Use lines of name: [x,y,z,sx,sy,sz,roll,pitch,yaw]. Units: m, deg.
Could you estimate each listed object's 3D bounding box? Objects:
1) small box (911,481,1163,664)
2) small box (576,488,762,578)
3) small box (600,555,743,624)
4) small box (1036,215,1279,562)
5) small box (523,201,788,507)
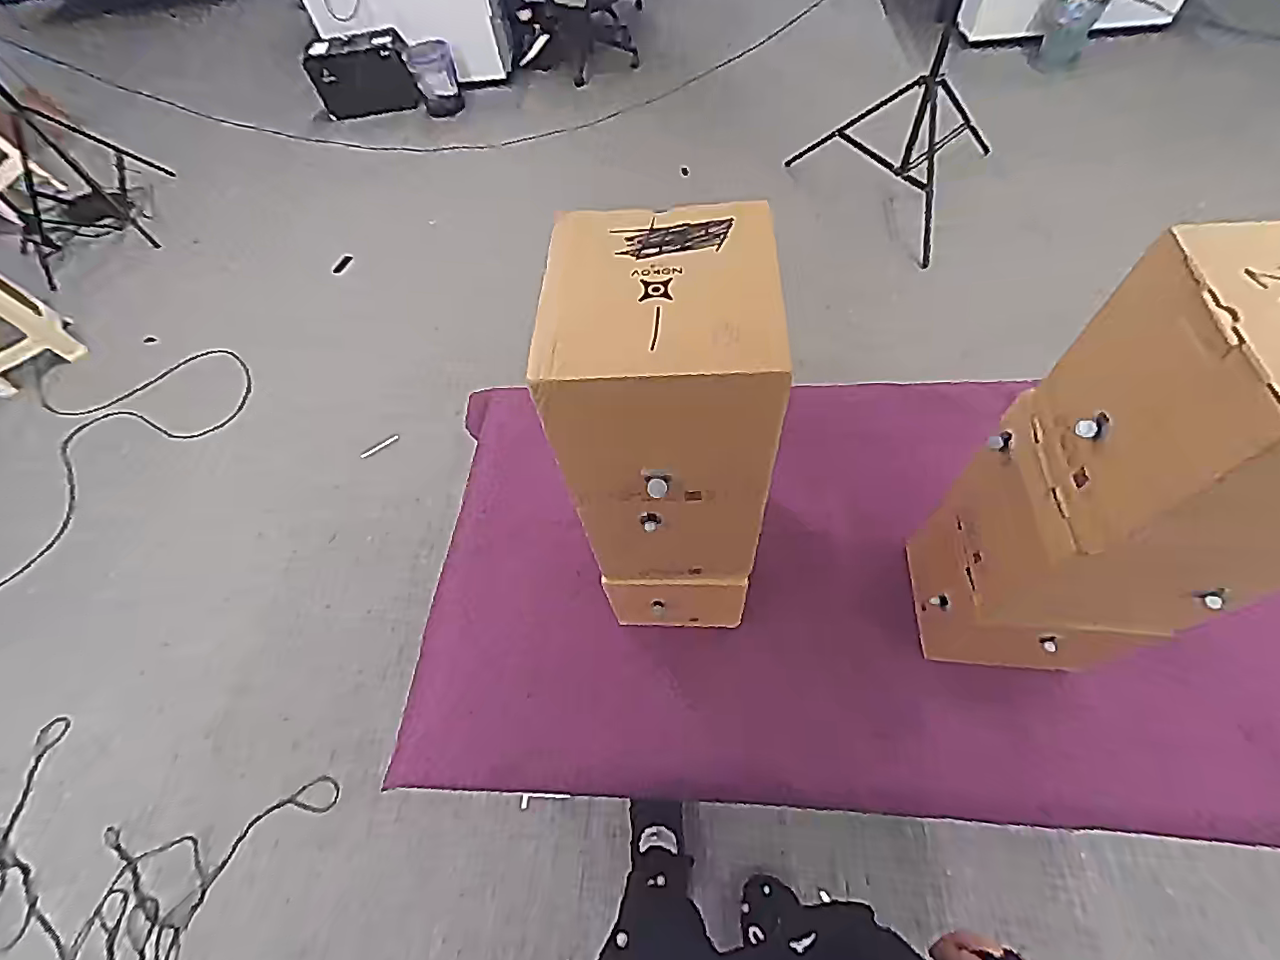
small box: [0.445,0.116,0.649,0.179,0.176,0.168,2,60,7]
small box: [0.033,-0.009,0.579,0.168,0.176,0.179,-2,57,6]
small box: [0.048,0.084,0.714,0.168,0.176,0.179,-1,58,6]
small box: [0.423,-0.052,0.367,0.179,0.176,0.168,1,59,8]
small box: [0.018,-0.094,0.439,0.168,0.176,0.179,-1,59,6]
